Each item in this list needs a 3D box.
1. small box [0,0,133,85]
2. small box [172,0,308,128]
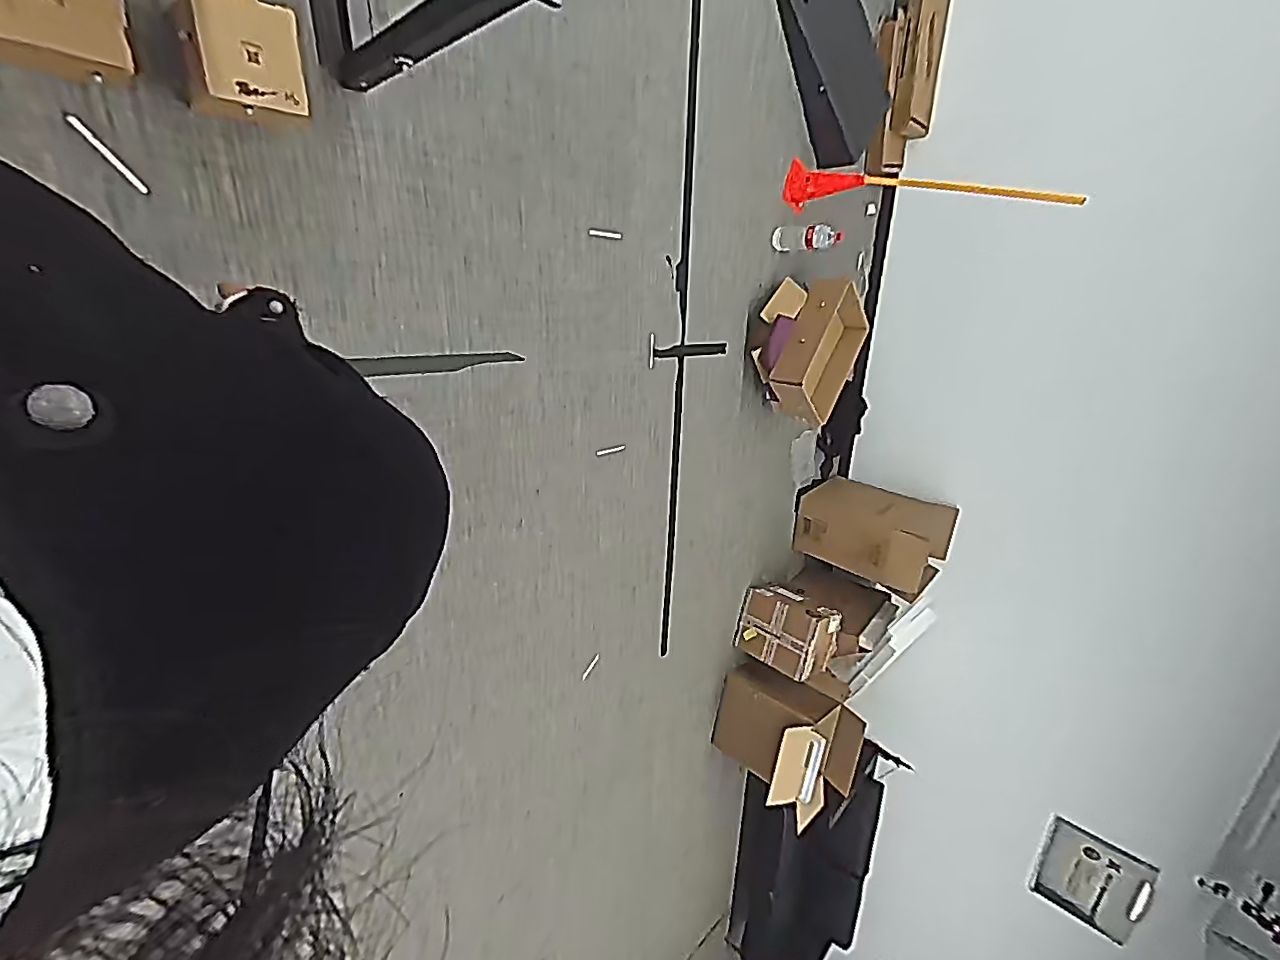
[{"bbox_3d":[-0.959,-0.765,0.867,0.179,0.176,0.168,-16,116,-43],"label":"small box"},{"bbox_3d":[-0.776,-0.814,1.050,0.168,0.176,0.179,-18,117,-43],"label":"small box"}]
